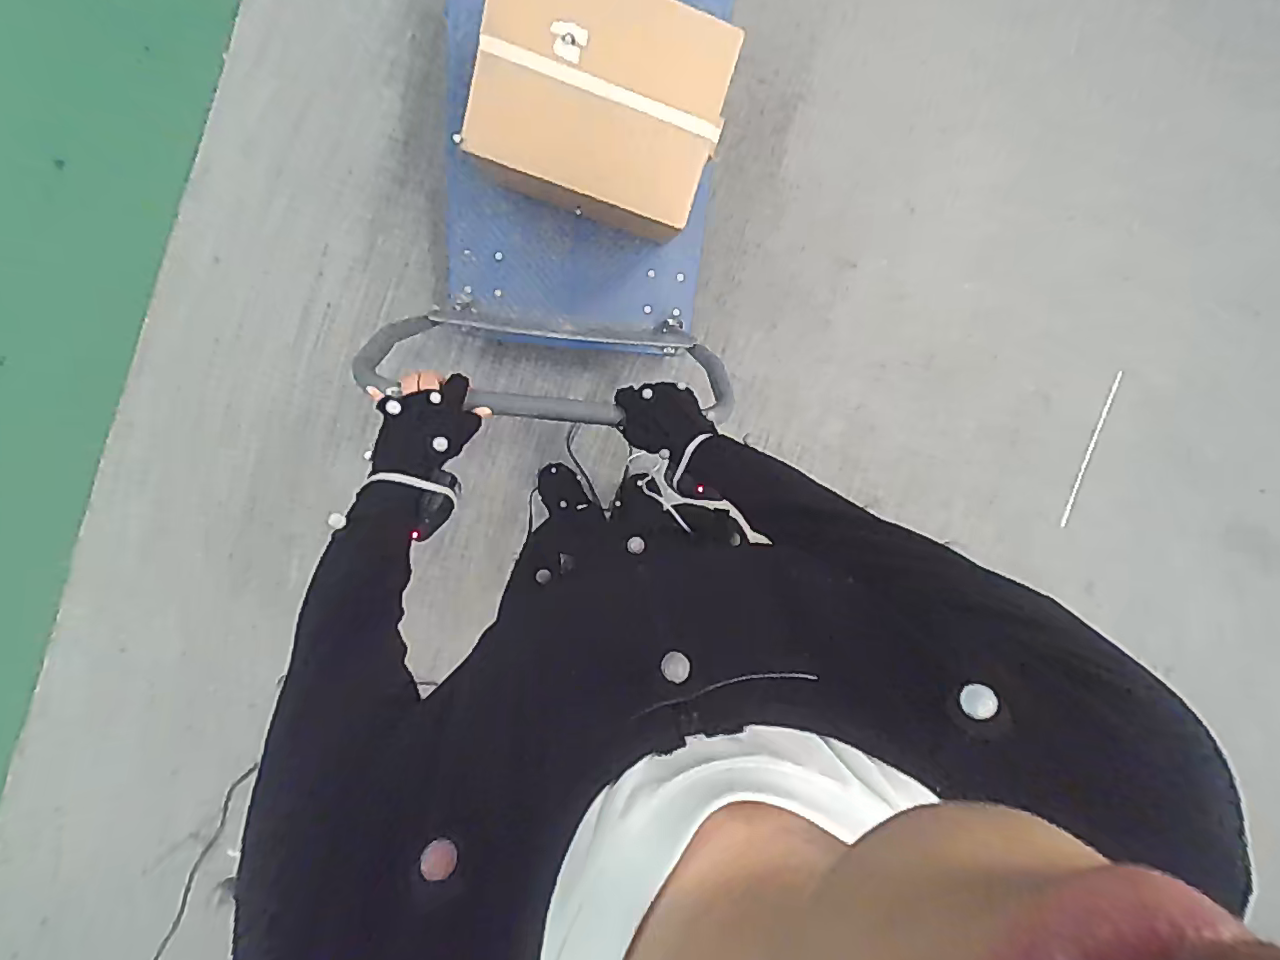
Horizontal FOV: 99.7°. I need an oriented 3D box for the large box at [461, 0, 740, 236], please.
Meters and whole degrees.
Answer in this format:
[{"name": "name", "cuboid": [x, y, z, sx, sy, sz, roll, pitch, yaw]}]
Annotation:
[{"name": "large box", "cuboid": [-0.074, -0.695, 1.030, 0.408, 0.320, 0.320, 17, 107, -9]}]
